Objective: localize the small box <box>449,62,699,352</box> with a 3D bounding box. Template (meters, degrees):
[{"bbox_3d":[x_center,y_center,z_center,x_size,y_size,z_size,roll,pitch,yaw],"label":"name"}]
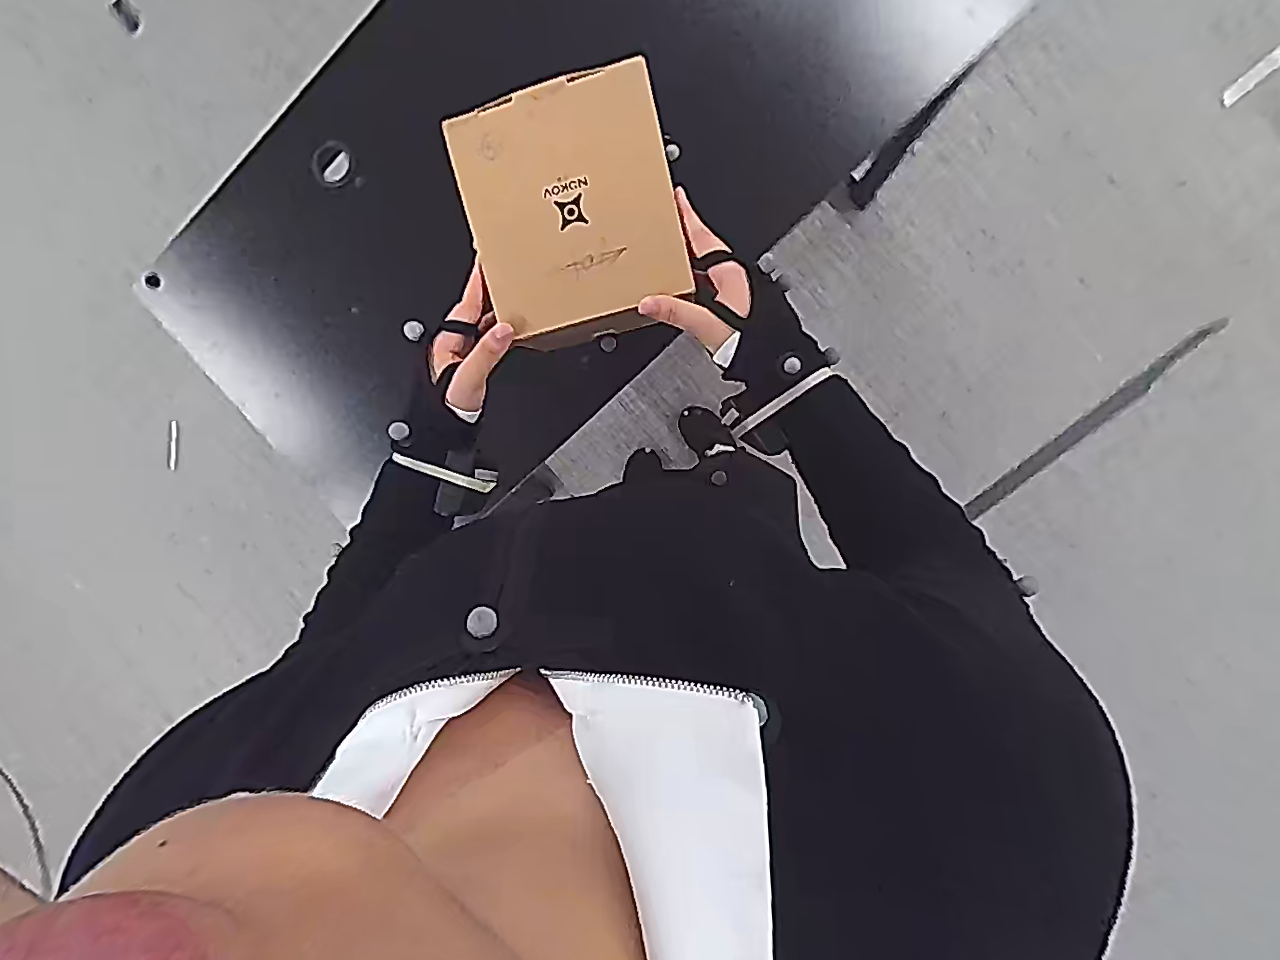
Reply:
[{"bbox_3d":[-0.045,-0.223,0.495,0.168,0.176,0.179,-11,100,7],"label":"small box"}]
